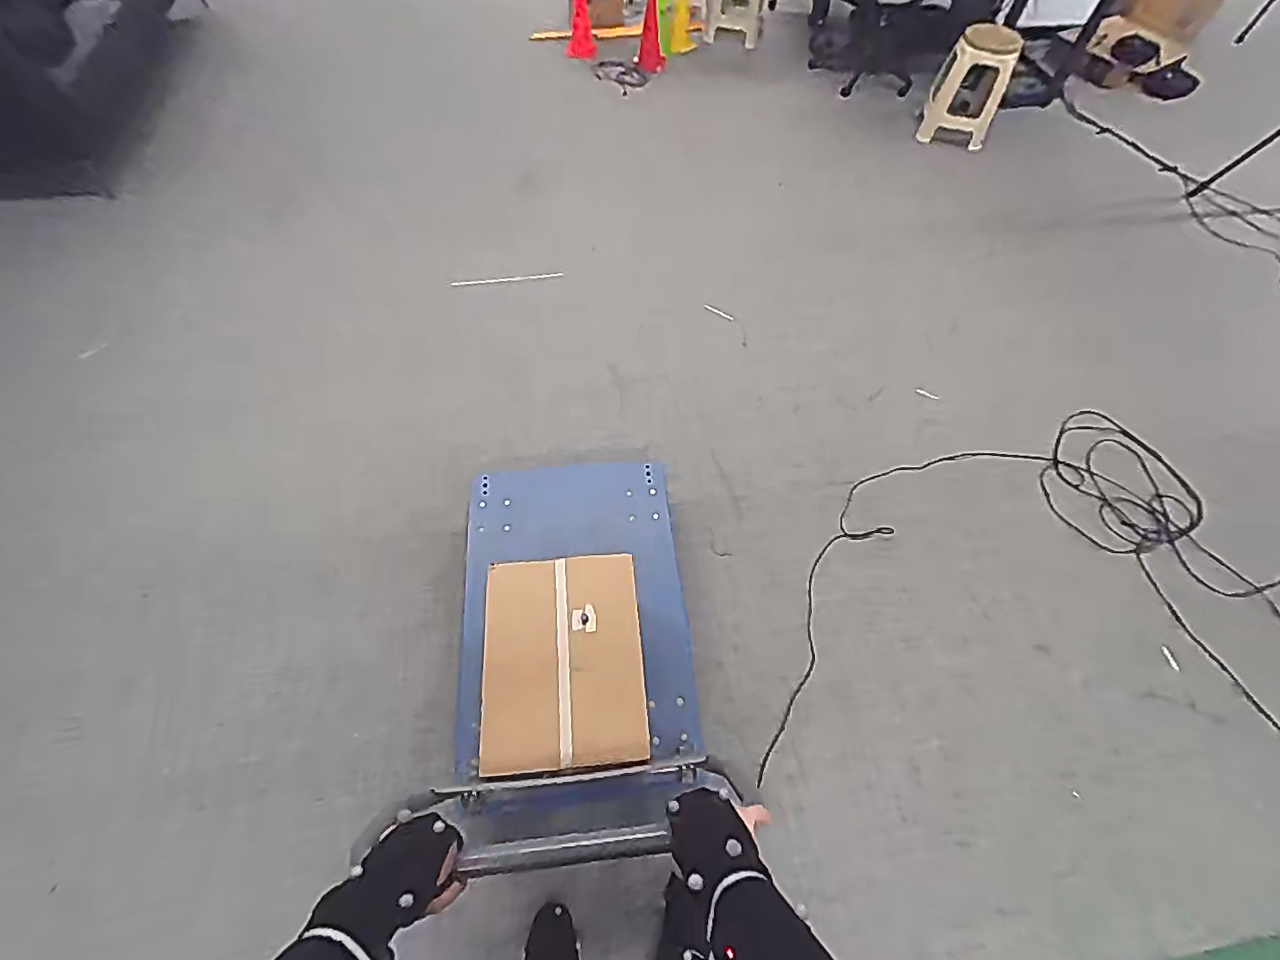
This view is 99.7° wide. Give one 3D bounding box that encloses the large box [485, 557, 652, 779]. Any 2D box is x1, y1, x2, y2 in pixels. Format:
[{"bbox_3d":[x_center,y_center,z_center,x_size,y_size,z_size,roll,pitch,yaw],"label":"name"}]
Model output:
[{"bbox_3d":[-0.156,0.427,1.218,0.320,0.320,0.408,-4,60,-5],"label":"large box"}]
